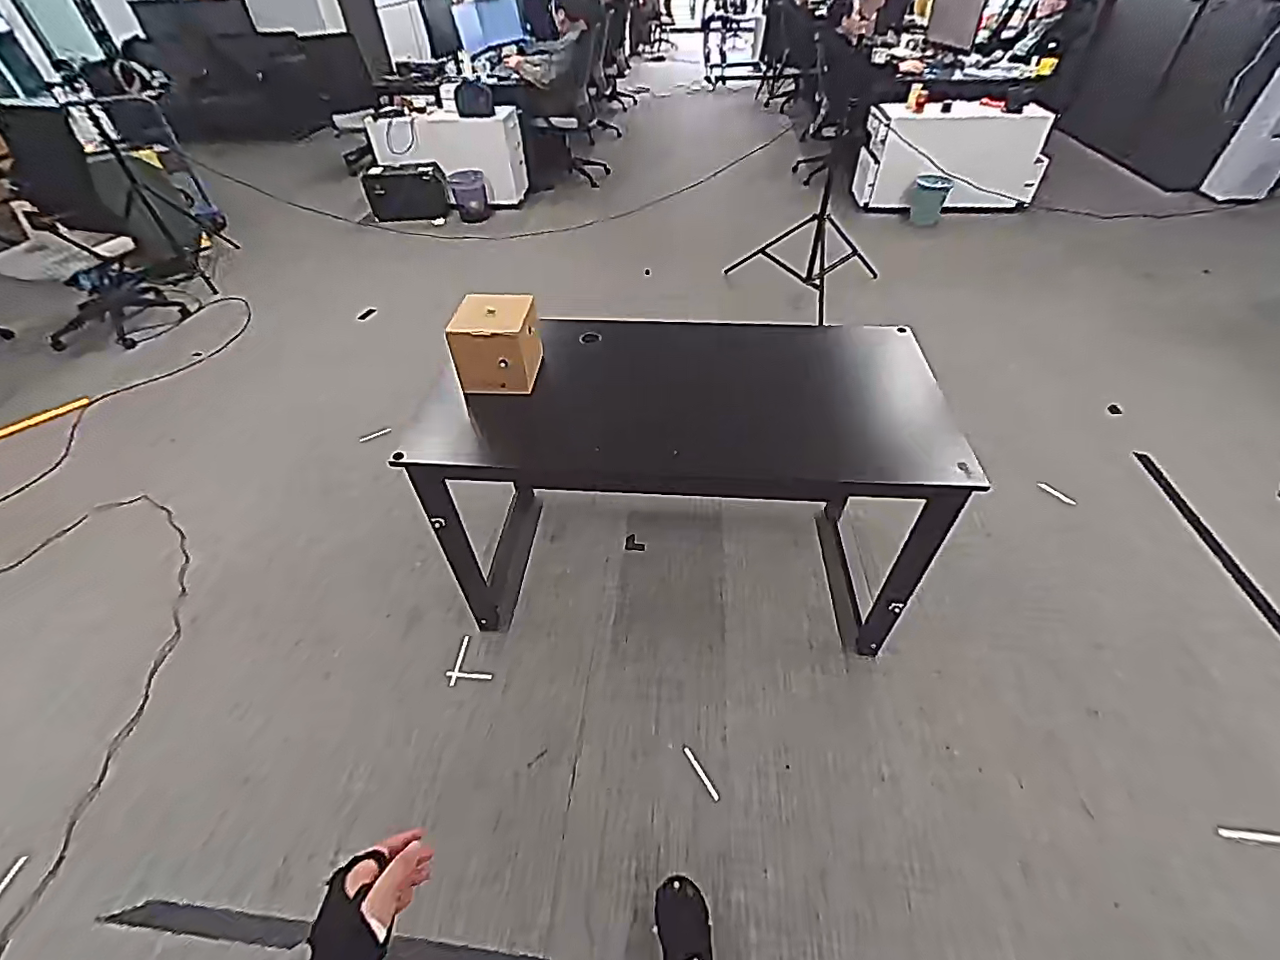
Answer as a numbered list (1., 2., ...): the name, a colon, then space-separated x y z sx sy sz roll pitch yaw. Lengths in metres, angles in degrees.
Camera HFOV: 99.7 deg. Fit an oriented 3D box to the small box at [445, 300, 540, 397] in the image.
1. small box: -0.344 -0.313 1.298 0.168 0.176 0.179 2 45 2
